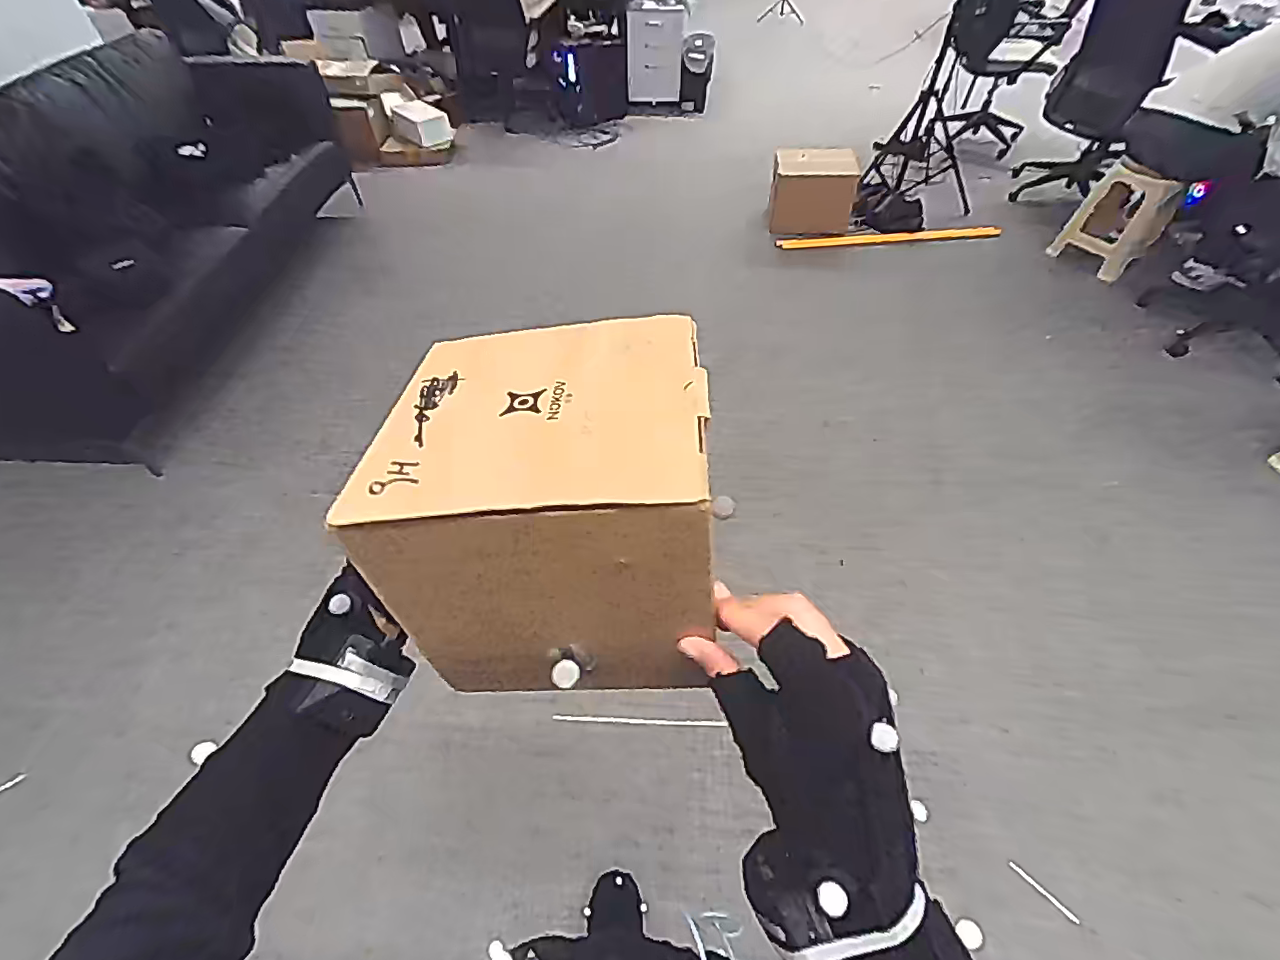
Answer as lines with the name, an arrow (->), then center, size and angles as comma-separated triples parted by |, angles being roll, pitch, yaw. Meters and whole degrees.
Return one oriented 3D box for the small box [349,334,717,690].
small box -> -0.043, 0.024, 0.360 | 0.179, 0.176, 0.168 | -4, 42, 5
